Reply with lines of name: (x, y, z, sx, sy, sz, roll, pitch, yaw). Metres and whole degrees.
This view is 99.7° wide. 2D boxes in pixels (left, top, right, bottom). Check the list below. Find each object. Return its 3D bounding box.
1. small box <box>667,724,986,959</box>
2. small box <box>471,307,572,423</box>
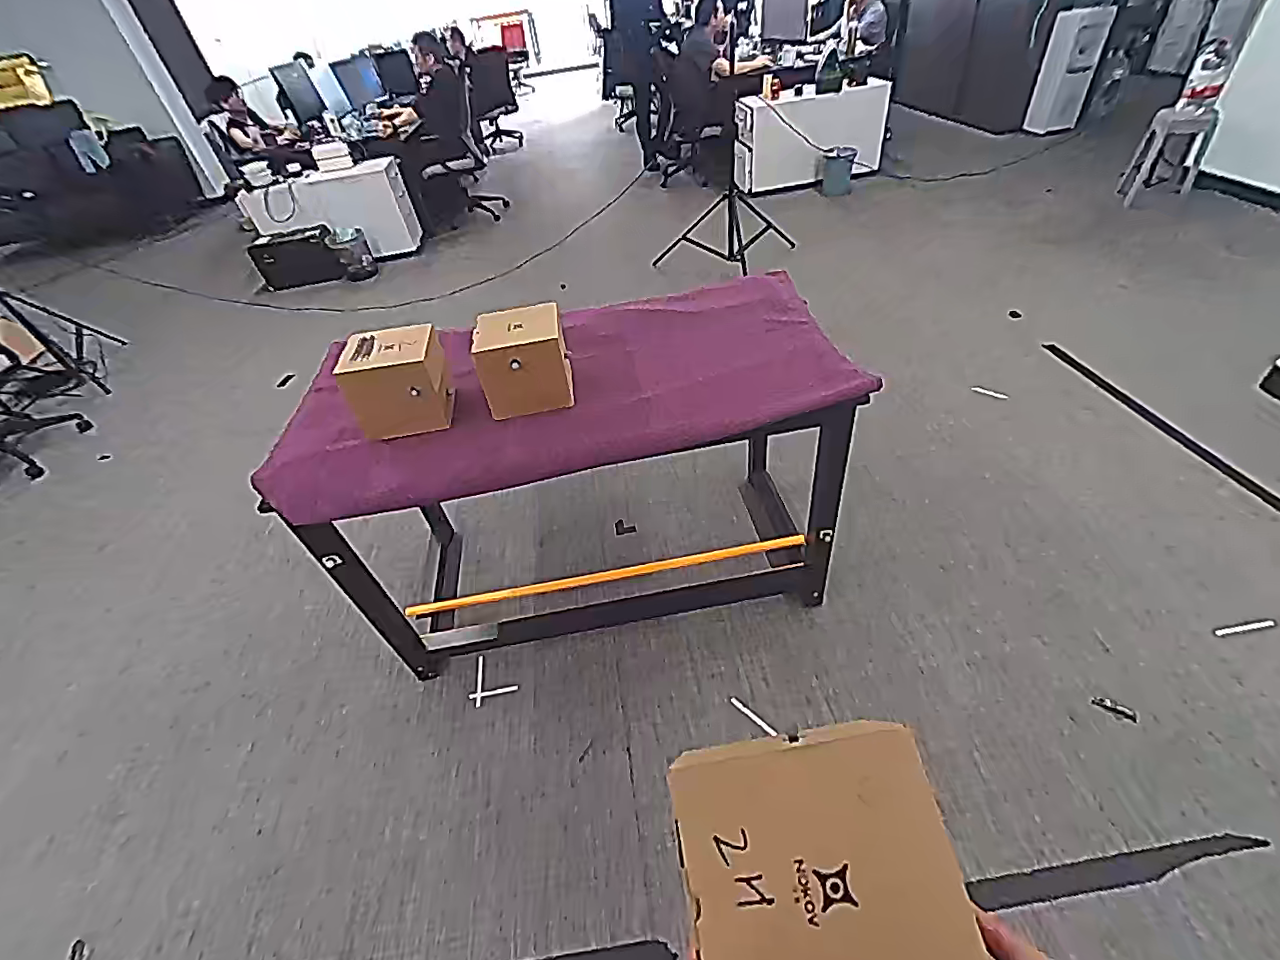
small box: (0.126, 0.291, 0.419, 0.179, 0.176, 0.168, -13, 65, 4)
small box: (-0.246, -0.246, 1.165, 0.179, 0.176, 0.168, -11, 42, -1)
